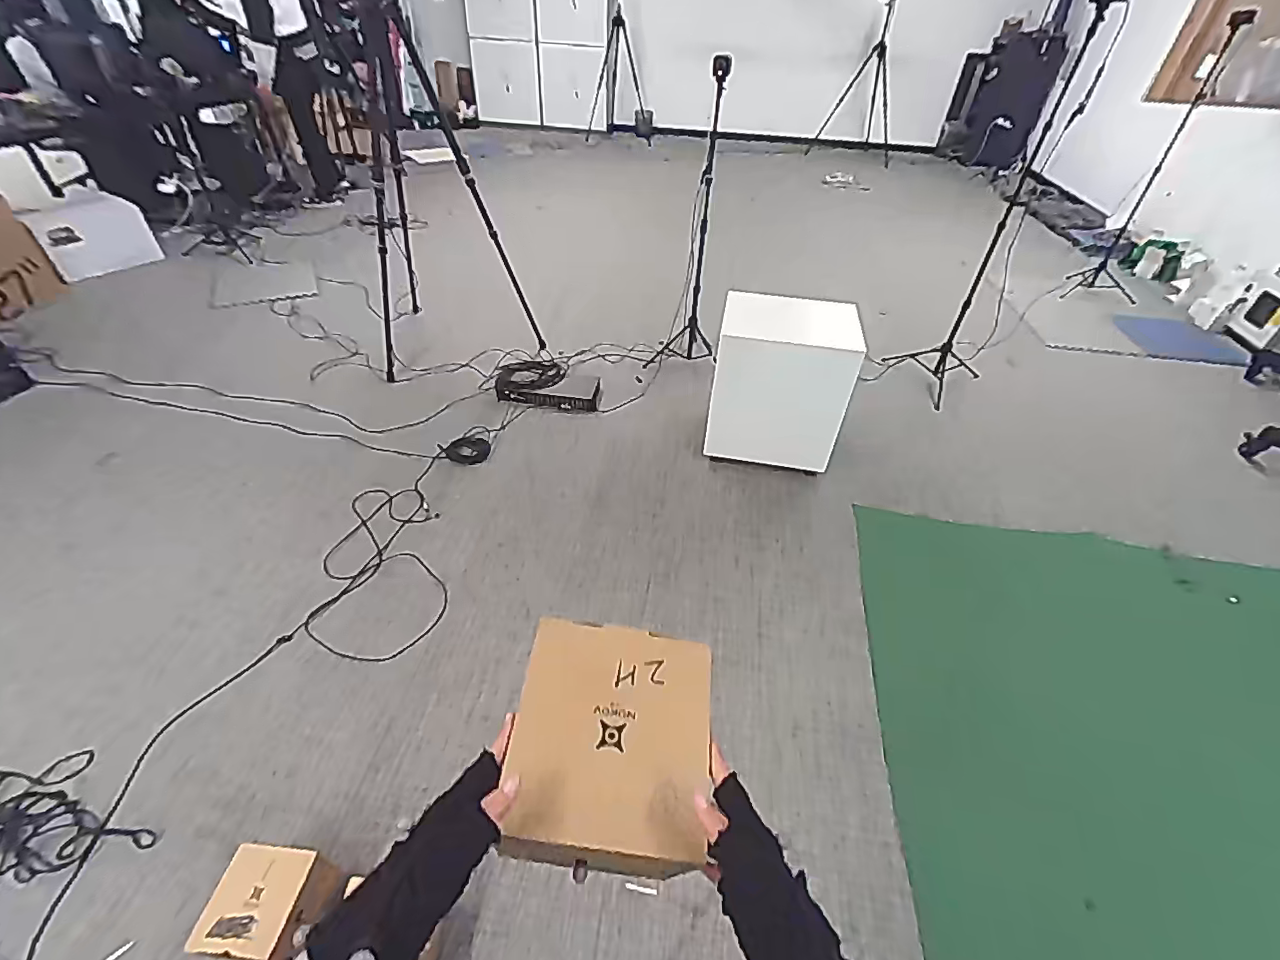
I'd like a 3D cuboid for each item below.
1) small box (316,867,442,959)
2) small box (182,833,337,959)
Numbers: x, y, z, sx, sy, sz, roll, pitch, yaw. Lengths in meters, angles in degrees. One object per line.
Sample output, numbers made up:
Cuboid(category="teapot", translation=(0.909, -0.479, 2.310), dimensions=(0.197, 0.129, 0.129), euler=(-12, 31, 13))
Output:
Cuboid(category="small box", translation=(-0.508, 0.899, 1.075), dimensions=(0.168, 0.176, 0.179), euler=(3, 44, 0))
Cuboid(category="small box", translation=(-0.757, 0.854, 1.104), dimensions=(0.168, 0.176, 0.179), euler=(6, 42, 2))
